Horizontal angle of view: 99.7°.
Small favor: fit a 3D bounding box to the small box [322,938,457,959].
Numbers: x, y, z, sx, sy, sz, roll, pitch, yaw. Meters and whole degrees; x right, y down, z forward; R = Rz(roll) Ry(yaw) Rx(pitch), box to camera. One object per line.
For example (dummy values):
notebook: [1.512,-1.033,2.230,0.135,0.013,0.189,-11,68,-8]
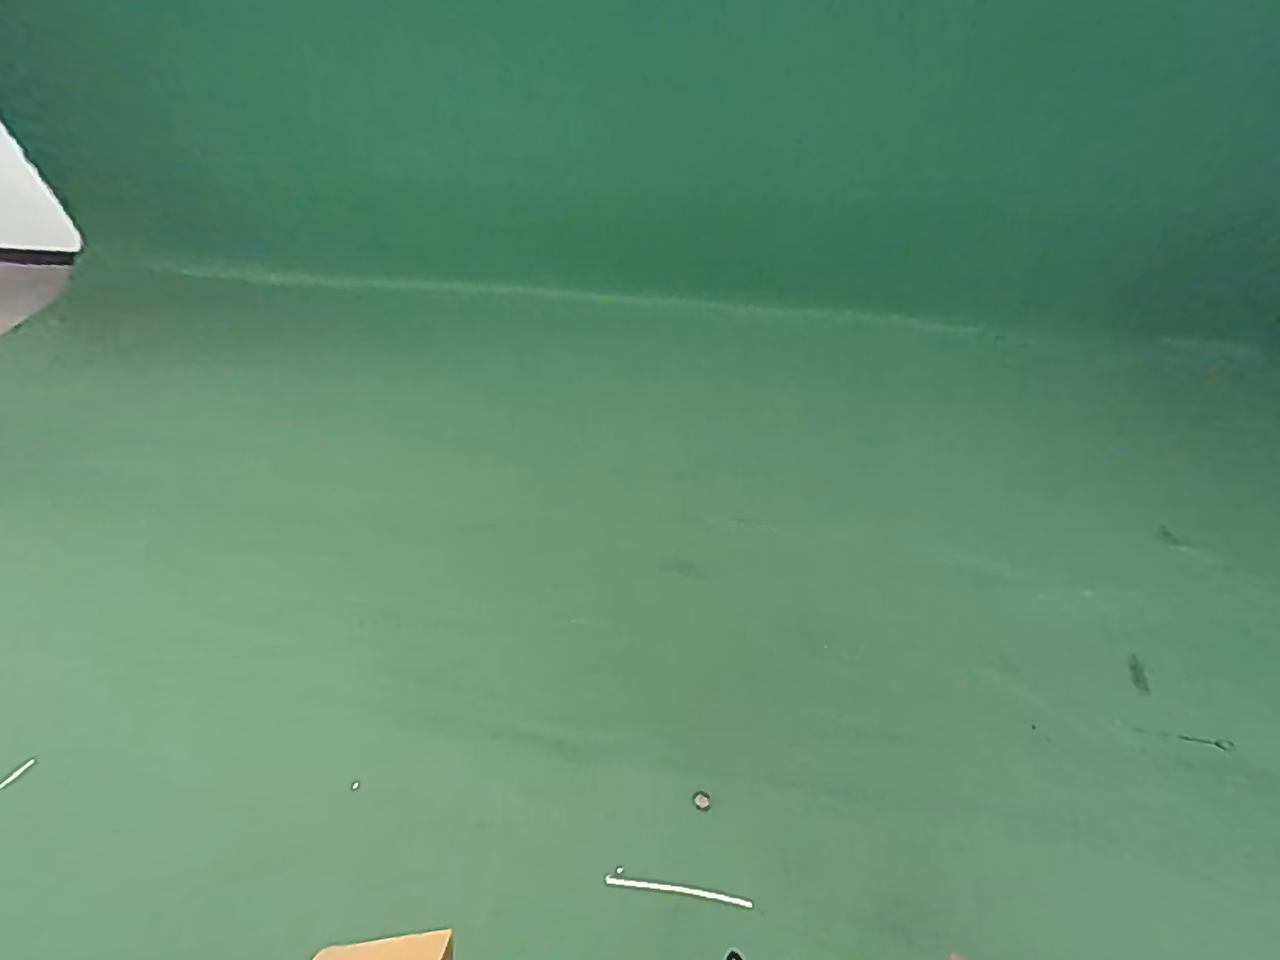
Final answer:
small box: [-0.308,0.662,0.597,0.168,0.179,0.176,-3,79,-5]
